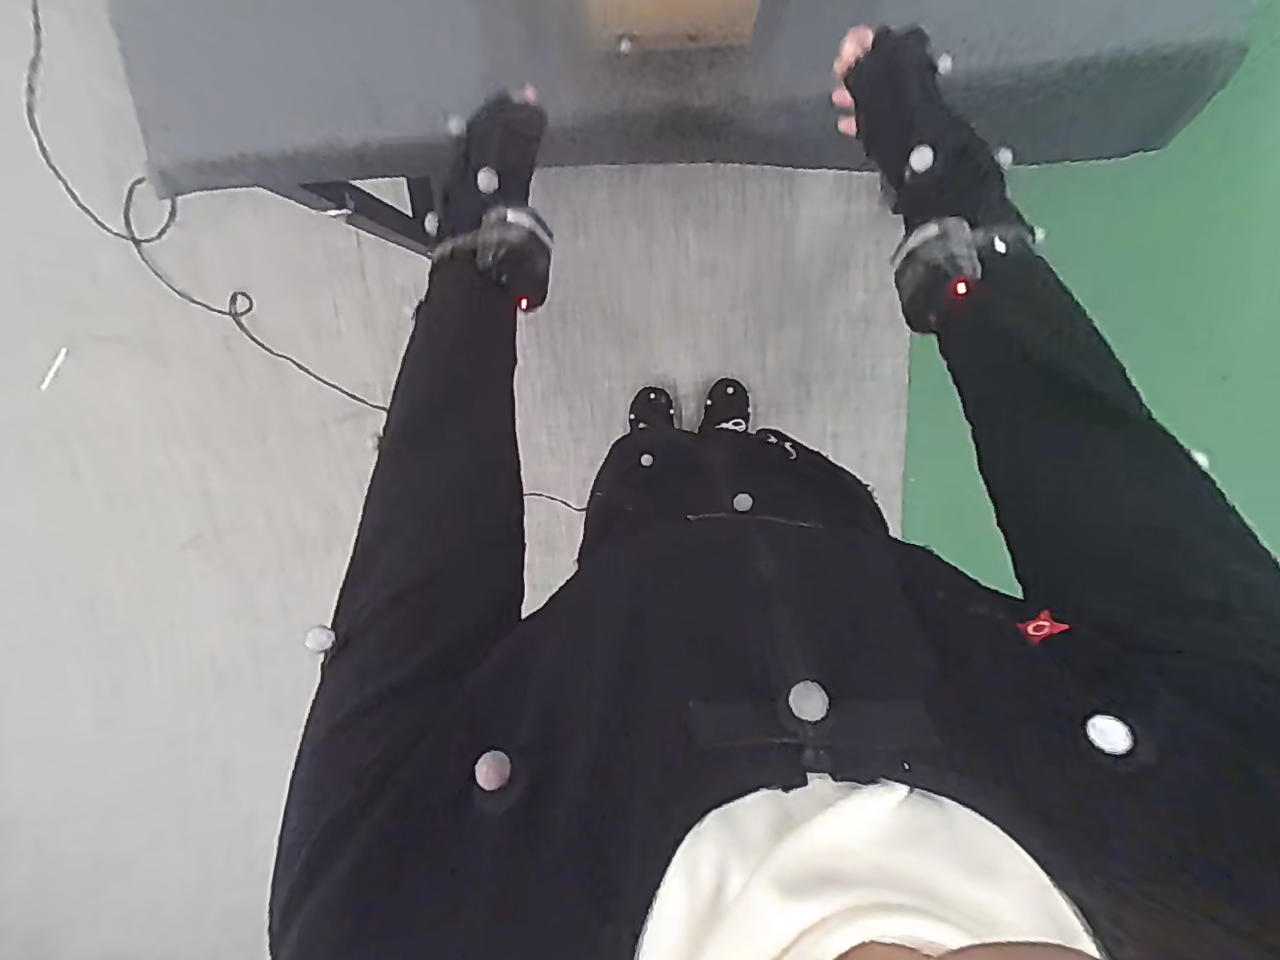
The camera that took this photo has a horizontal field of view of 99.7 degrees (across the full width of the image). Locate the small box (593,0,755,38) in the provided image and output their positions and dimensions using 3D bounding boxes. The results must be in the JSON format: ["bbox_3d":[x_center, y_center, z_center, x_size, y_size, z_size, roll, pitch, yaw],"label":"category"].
[{"bbox_3d":[0.032,-0.544,0.494,0.168,0.176,0.179,0,102,2],"label":"small box"}]
